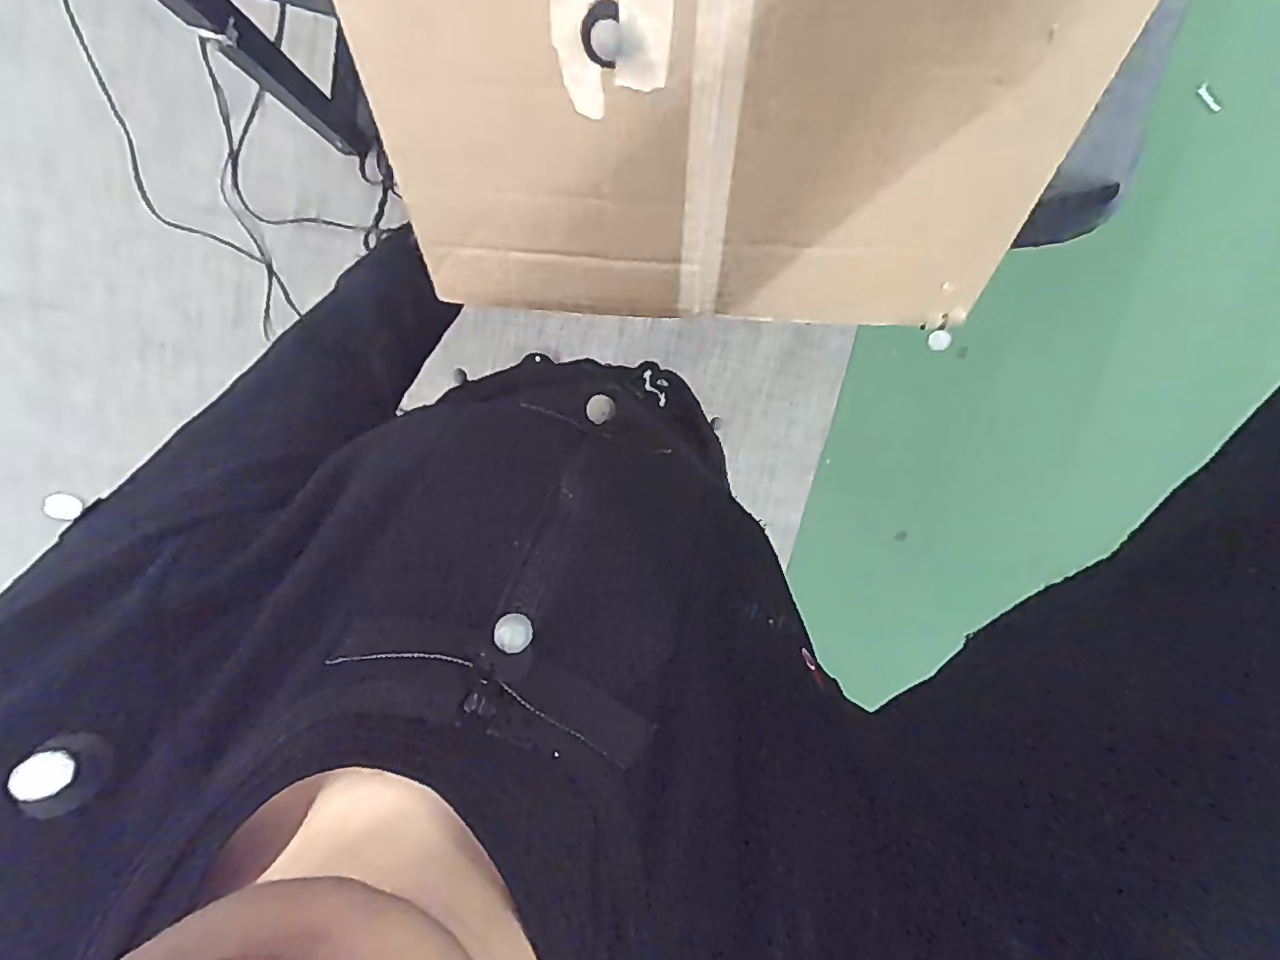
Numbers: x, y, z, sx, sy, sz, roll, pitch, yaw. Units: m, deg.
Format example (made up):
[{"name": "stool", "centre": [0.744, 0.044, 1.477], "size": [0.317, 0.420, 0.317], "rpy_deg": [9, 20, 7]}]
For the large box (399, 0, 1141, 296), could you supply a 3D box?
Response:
[{"name": "large box", "centre": [0.056, -0.354, 0.256], "size": [0.320, 0.408, 0.320], "rpy_deg": [3, 57, 3]}]
